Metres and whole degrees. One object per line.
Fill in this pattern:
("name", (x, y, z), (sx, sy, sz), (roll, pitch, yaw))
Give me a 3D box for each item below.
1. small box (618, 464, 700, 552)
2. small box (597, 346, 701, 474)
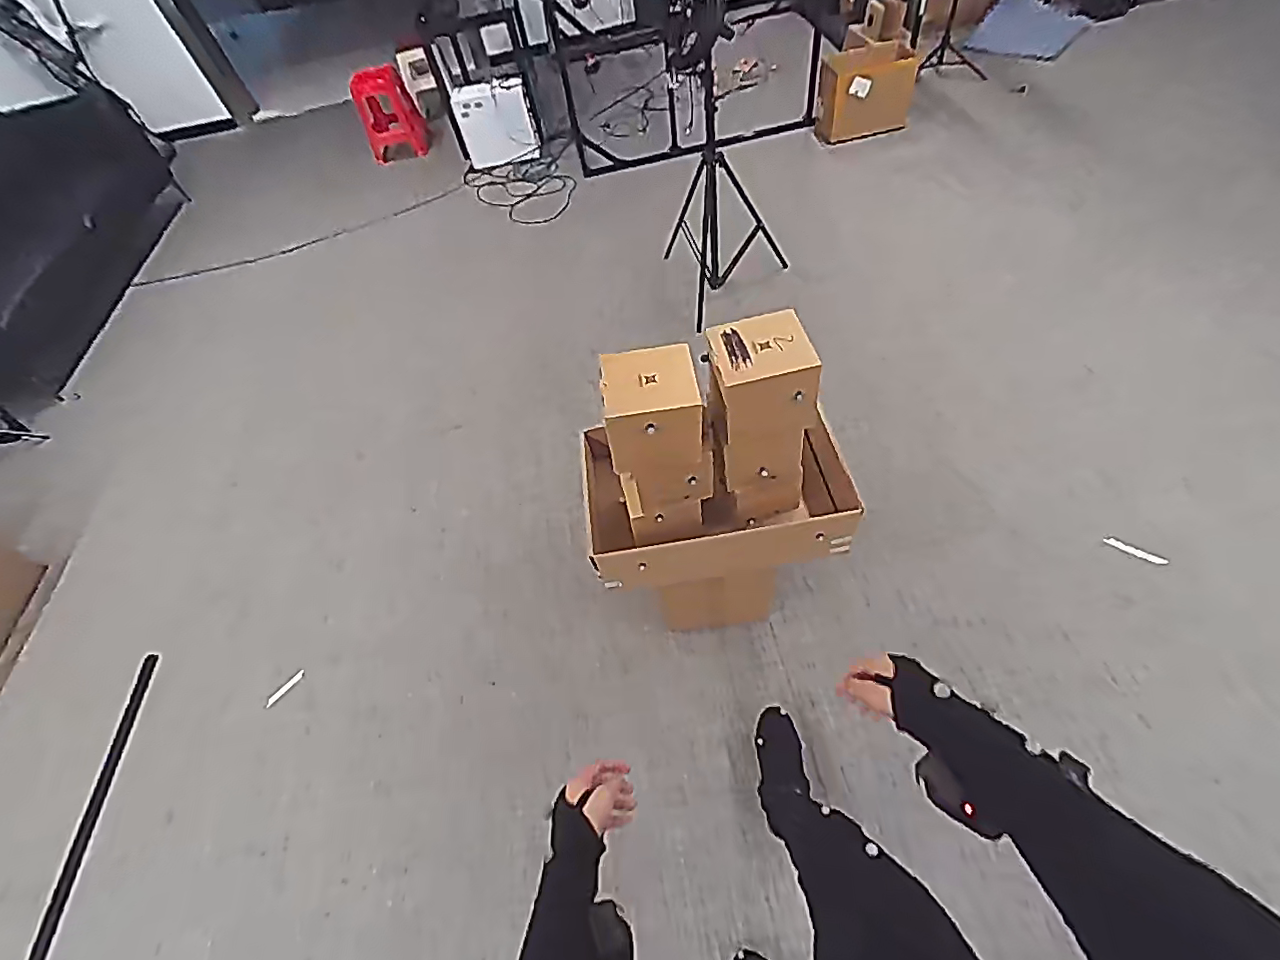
("small box", (0.045, 0.048, 1.320), (0.168, 0.176, 0.179), (-15, 54, -1))
("small box", (0.019, -0.132, 1.051), (0.179, 0.176, 0.168), (-9, 54, 1))
